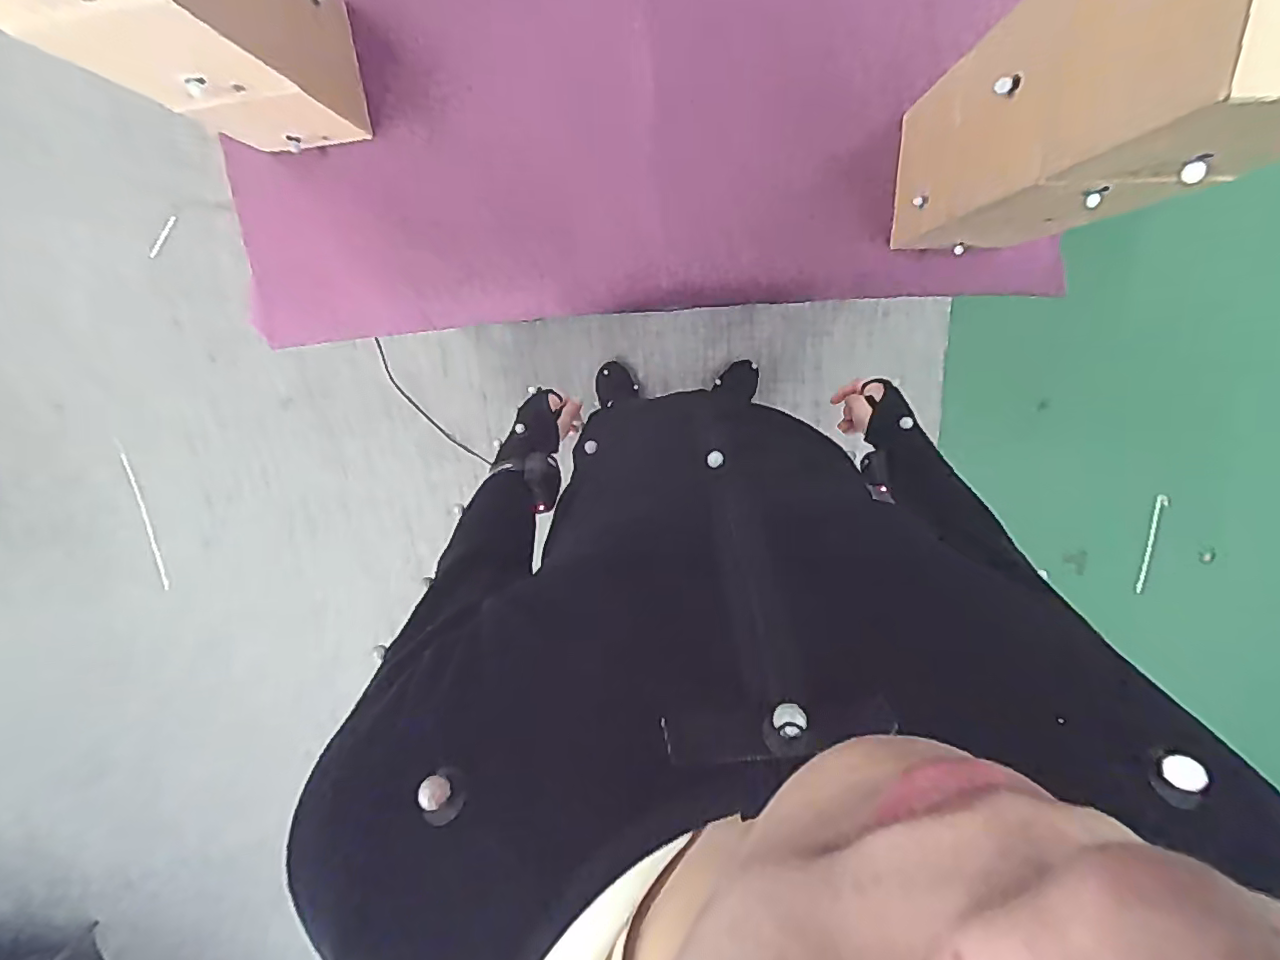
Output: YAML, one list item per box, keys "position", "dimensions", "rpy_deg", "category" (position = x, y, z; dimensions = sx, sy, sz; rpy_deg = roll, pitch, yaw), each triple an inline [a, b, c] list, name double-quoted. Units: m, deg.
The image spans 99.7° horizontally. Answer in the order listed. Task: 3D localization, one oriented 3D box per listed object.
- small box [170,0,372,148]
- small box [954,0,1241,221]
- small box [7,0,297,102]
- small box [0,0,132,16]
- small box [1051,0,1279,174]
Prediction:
- position: [-0.479, -0.558, 0.694]
  dimensions: [0.168, 0.176, 0.179]
  rpy_deg: [-5, 106, 5]
  category: "small box"
- position: [0.432, -0.364, 0.520]
  dimensions: [0.168, 0.176, 0.179]
  rpy_deg: [1, 104, 4]
  category: "small box"
- position: [-0.488, -0.516, 0.536]
  dimensions: [0.168, 0.176, 0.179]
  rpy_deg: [-5, 106, 6]
  category: "small box"
- position: [-0.498, -0.473, 0.380]
  dimensions: [0.168, 0.176, 0.179]
  rpy_deg: [-6, 105, 6]
  category: "small box"
- position: [0.420, -0.325, 0.360]
  dimensions: [0.168, 0.176, 0.179]
  rpy_deg: [1, 105, 4]
  category: "small box"
